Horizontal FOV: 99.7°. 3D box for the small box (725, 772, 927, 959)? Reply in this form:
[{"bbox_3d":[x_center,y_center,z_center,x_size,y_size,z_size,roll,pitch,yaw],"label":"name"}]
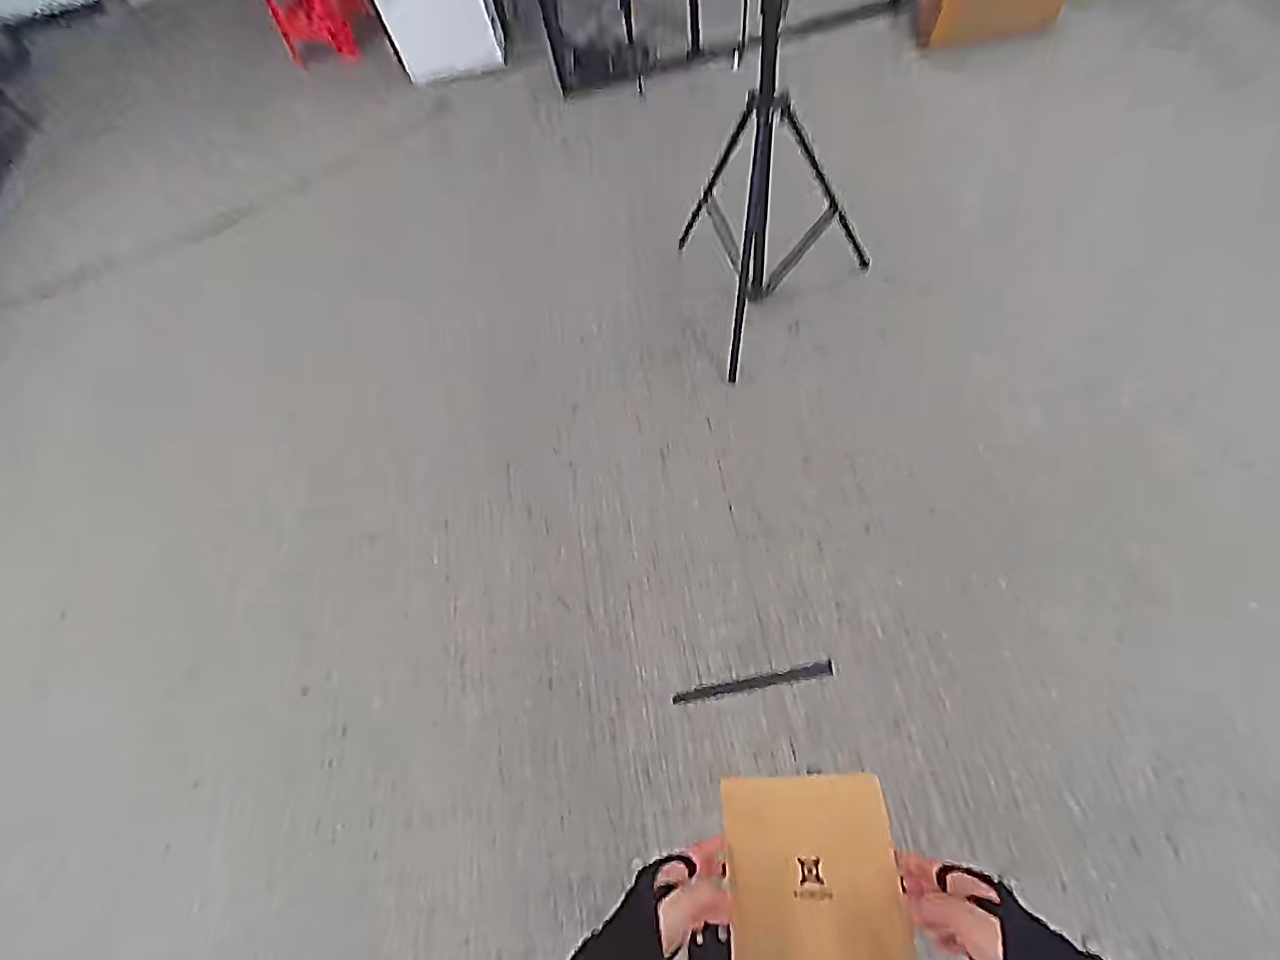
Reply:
[{"bbox_3d":[0.184,0.417,0.573,0.168,0.176,0.179,-8,57,11],"label":"small box"}]
